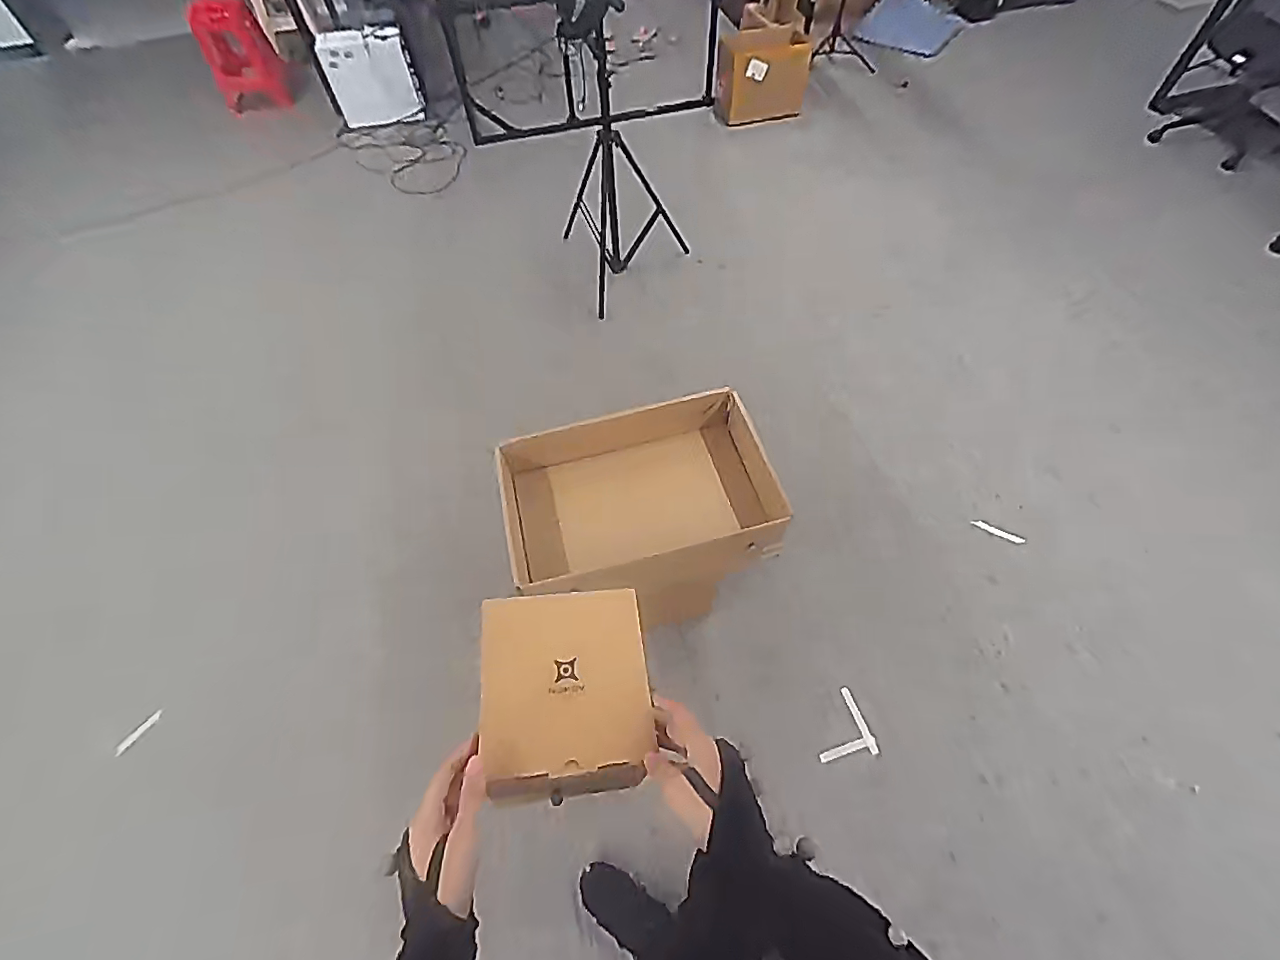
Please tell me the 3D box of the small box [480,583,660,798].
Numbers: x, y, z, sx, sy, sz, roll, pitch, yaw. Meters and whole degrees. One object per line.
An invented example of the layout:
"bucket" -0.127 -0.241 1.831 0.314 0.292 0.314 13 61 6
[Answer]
"small box" -0.084 0.233 0.598 0.168 0.176 0.179 -2 55 -11
